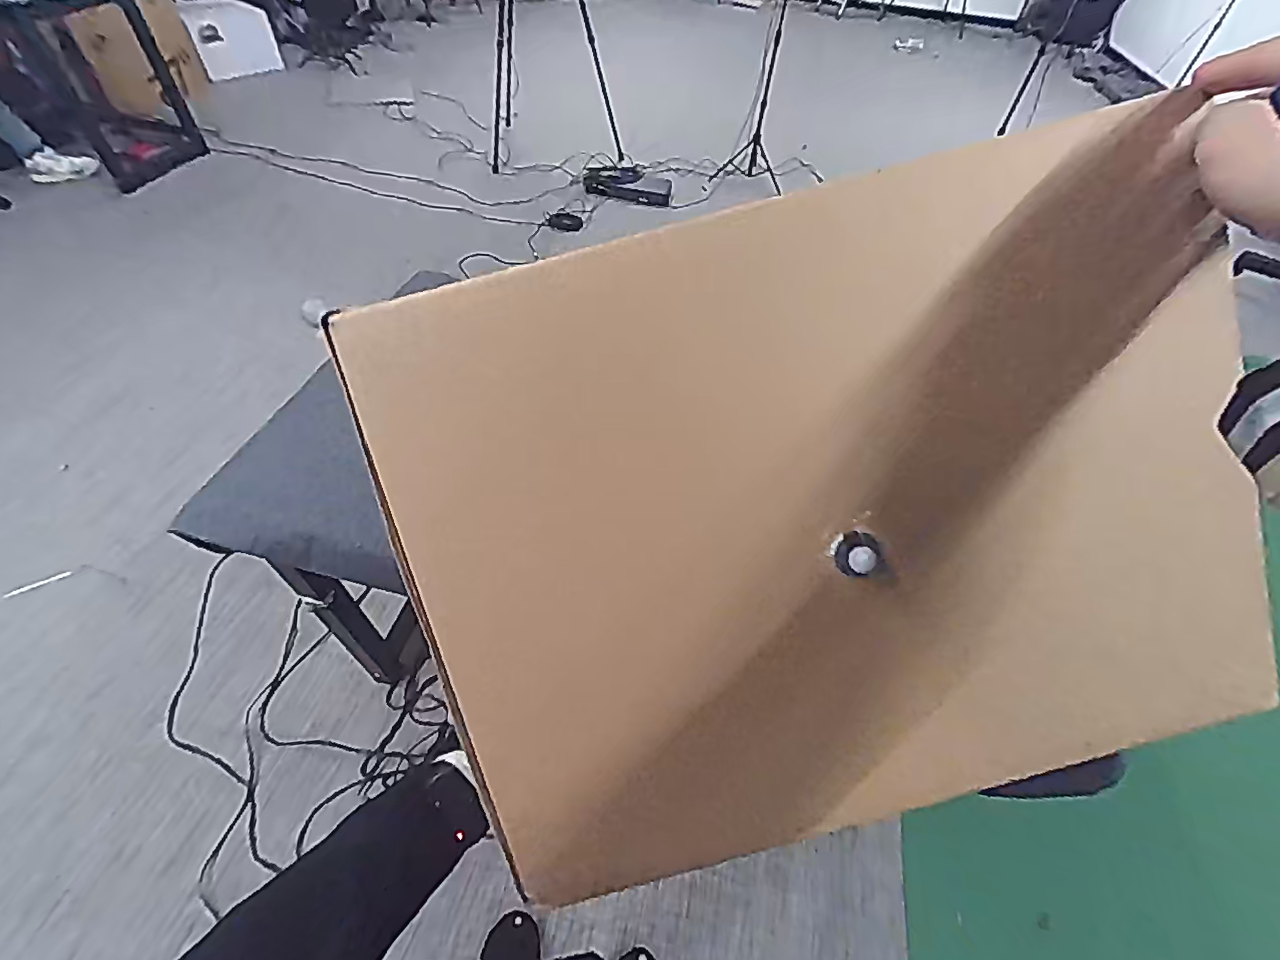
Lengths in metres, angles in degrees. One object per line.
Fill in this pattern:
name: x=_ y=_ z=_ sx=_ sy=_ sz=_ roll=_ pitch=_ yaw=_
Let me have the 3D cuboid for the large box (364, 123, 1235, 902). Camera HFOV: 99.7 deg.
large box: x=0.097 y=0.009 z=0.417 sx=0.408 sy=0.320 sz=0.320 roll=-17 pitch=8 yaw=-2
